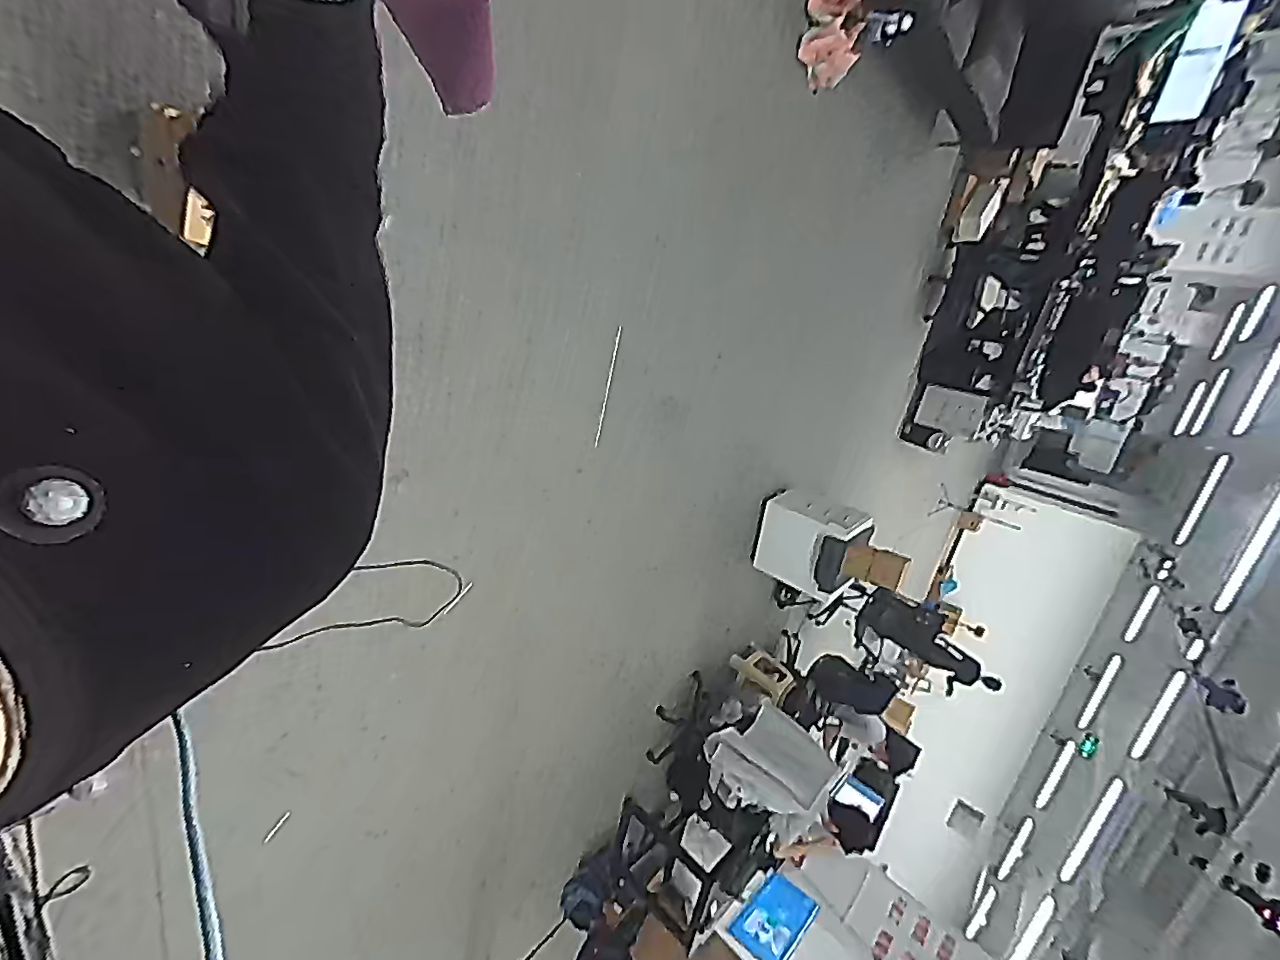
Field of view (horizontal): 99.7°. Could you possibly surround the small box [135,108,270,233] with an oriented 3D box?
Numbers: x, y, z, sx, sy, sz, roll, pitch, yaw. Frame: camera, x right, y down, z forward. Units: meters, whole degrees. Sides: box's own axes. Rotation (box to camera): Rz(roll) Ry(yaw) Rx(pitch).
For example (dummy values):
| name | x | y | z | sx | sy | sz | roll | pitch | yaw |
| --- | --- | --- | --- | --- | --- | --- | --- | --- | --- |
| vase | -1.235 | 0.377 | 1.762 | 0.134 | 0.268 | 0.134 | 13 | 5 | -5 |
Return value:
| name | x | y | z | sx | sy | sz | roll | pitch | yaw |
| --- | --- | --- | --- | --- | --- | --- | --- | --- | --- |
| small box | -0.844 | -0.592 | 1.046 | 0.179 | 0.176 | 0.168 | -7 | 115 | -47 |
